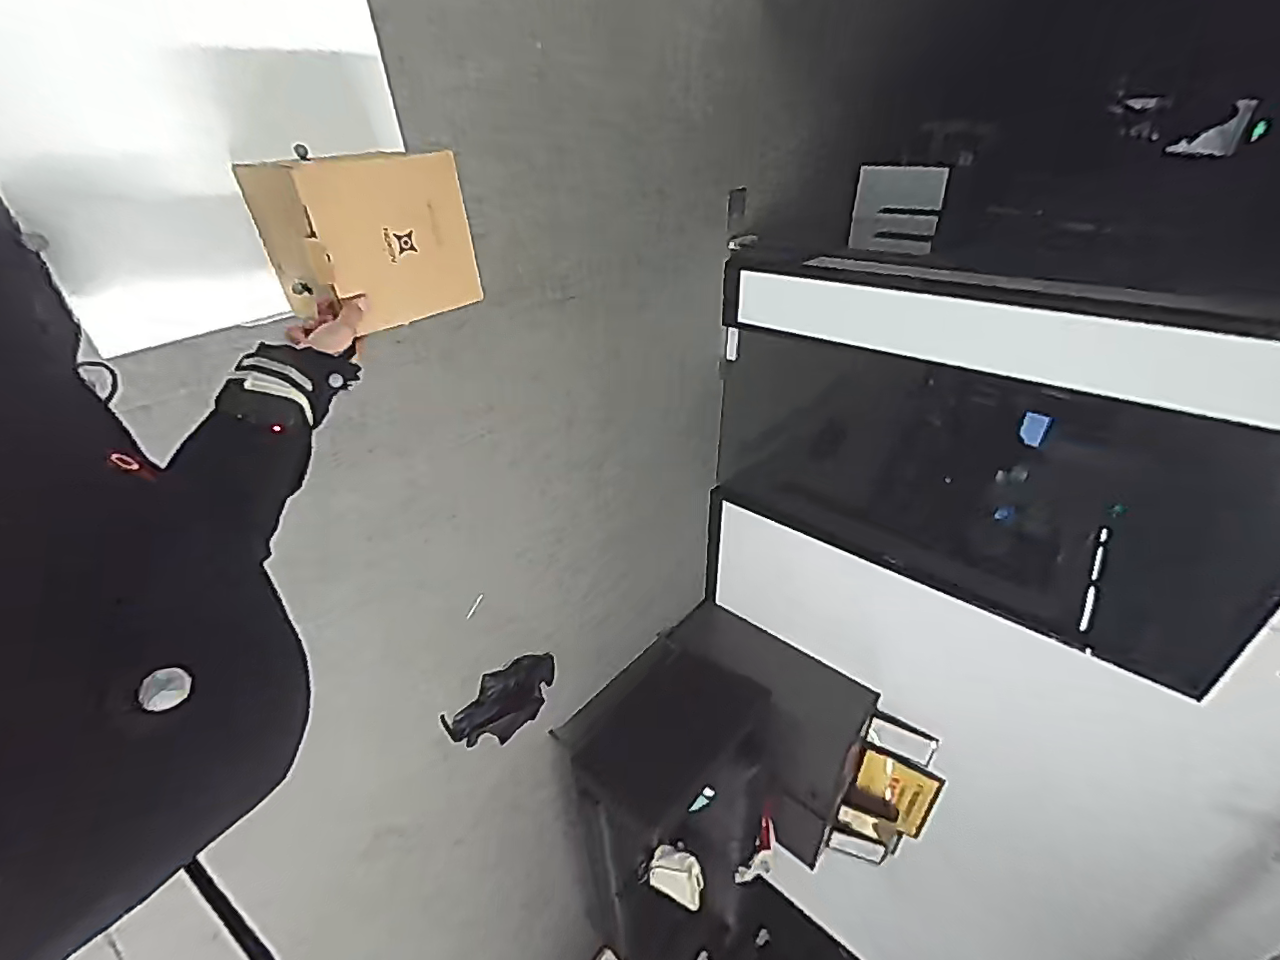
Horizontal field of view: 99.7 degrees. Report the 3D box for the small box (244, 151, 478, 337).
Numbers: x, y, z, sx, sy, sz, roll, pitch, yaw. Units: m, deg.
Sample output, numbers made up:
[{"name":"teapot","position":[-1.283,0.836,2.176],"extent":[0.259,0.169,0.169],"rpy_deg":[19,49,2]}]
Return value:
[{"name":"small box","position":[-0.326,-0.285,0.636],"extent":[0.179,0.176,0.168],"rpy_deg":[-35,136,-37]}]
